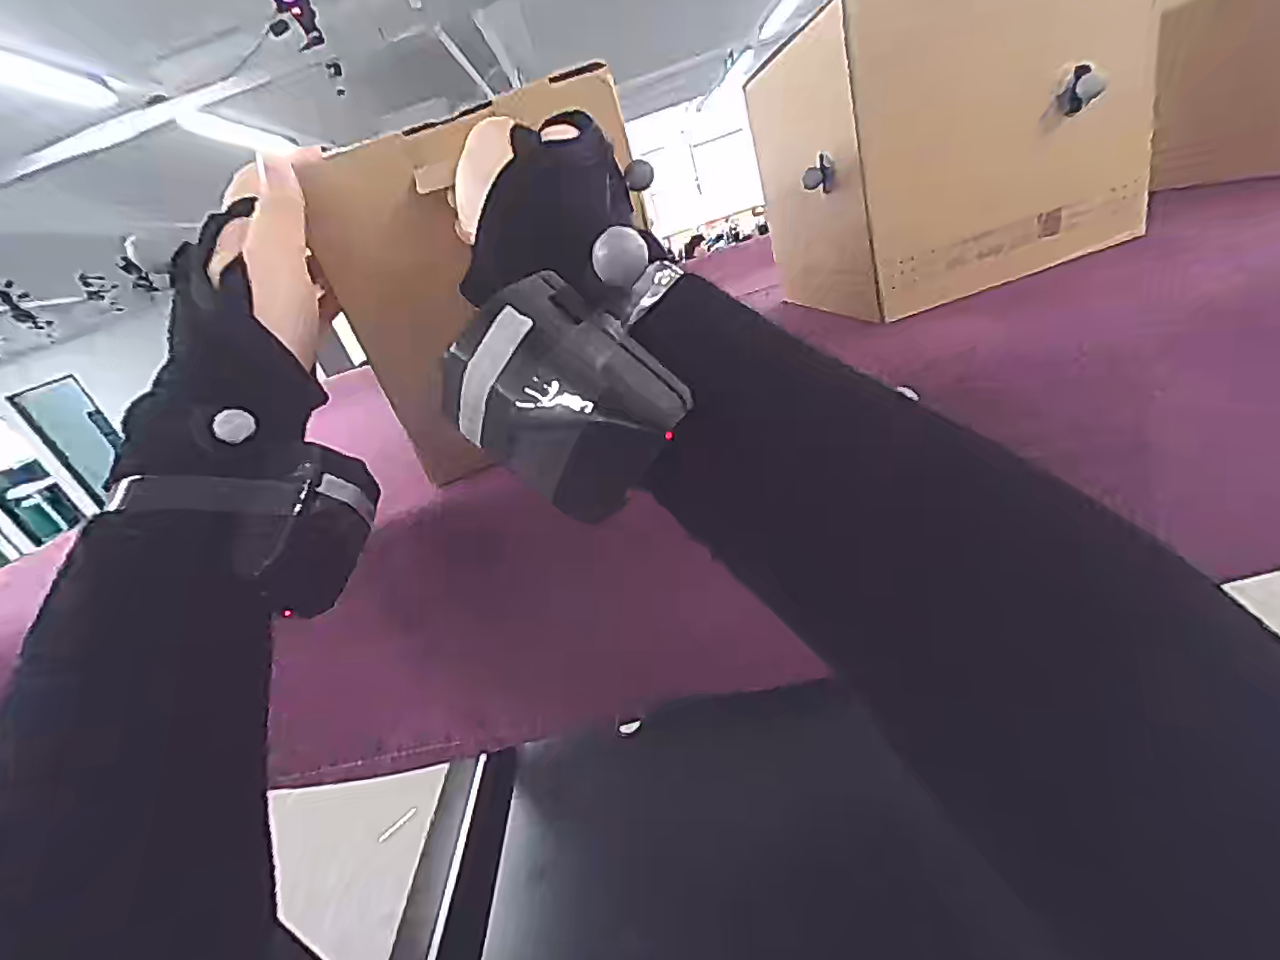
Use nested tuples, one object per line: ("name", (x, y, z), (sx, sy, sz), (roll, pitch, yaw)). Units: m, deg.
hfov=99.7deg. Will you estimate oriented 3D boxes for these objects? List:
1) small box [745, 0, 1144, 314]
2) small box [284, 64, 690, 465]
("small box", (0.189, -0.222, 0.365), (0.168, 0.176, 0.179), (-18, 23, 1))
("small box", (-0.082, -0.127, 0.358), (0.168, 0.176, 0.179), (-22, 24, -6))
